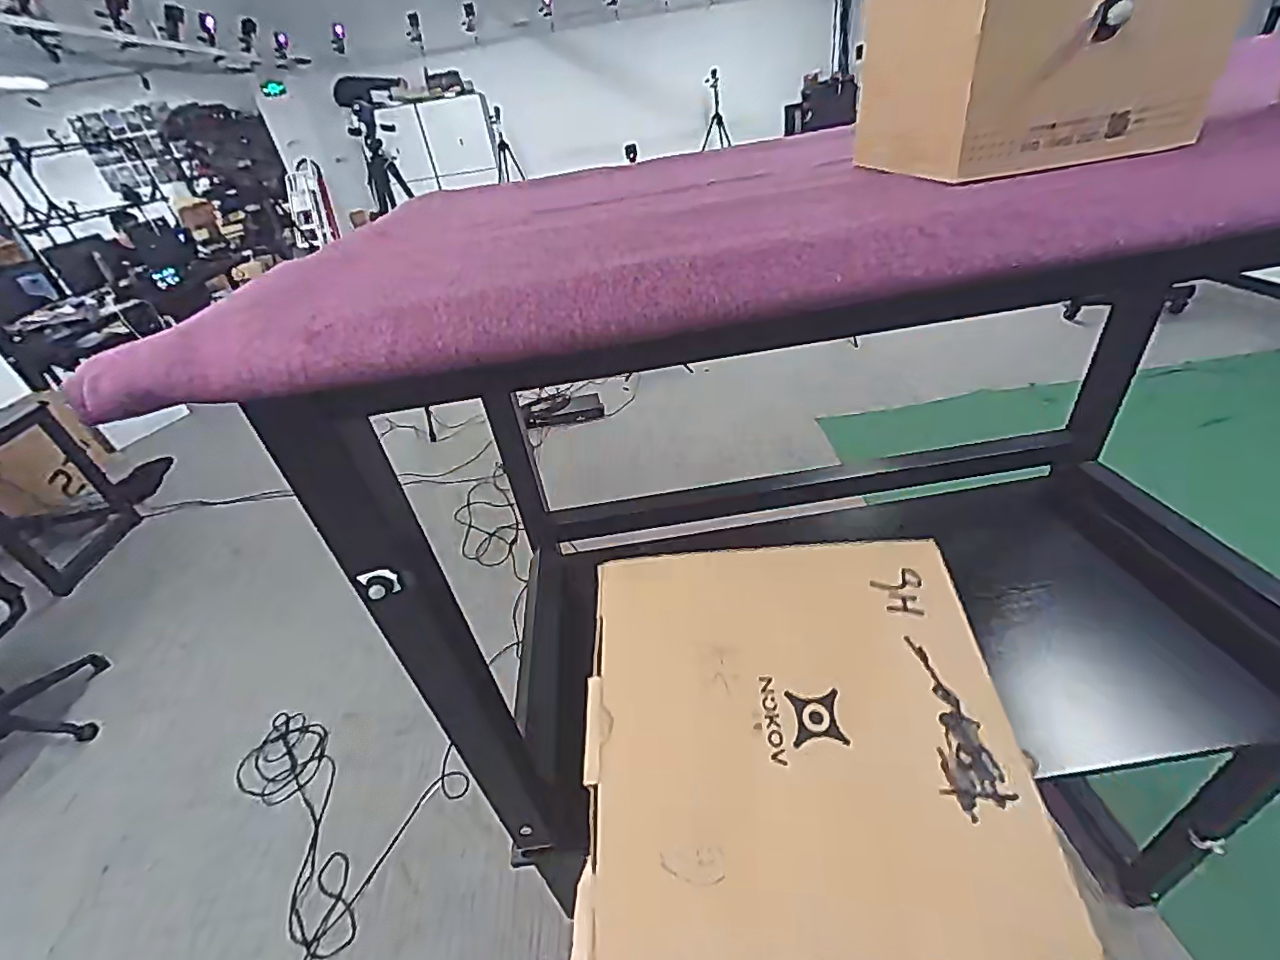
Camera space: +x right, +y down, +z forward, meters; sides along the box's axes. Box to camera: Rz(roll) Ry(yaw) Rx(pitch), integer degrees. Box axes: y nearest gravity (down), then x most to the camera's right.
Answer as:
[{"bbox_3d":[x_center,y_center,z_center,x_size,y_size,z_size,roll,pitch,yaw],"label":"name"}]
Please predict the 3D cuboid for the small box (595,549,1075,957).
[{"bbox_3d":[0.077,0.155,0.308,0.179,0.176,0.168,-4,54,4],"label":"small box"}]

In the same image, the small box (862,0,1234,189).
[{"bbox_3d":[0.283,-0.323,0.399,0.168,0.176,0.179,-8,34,0],"label":"small box"}]
